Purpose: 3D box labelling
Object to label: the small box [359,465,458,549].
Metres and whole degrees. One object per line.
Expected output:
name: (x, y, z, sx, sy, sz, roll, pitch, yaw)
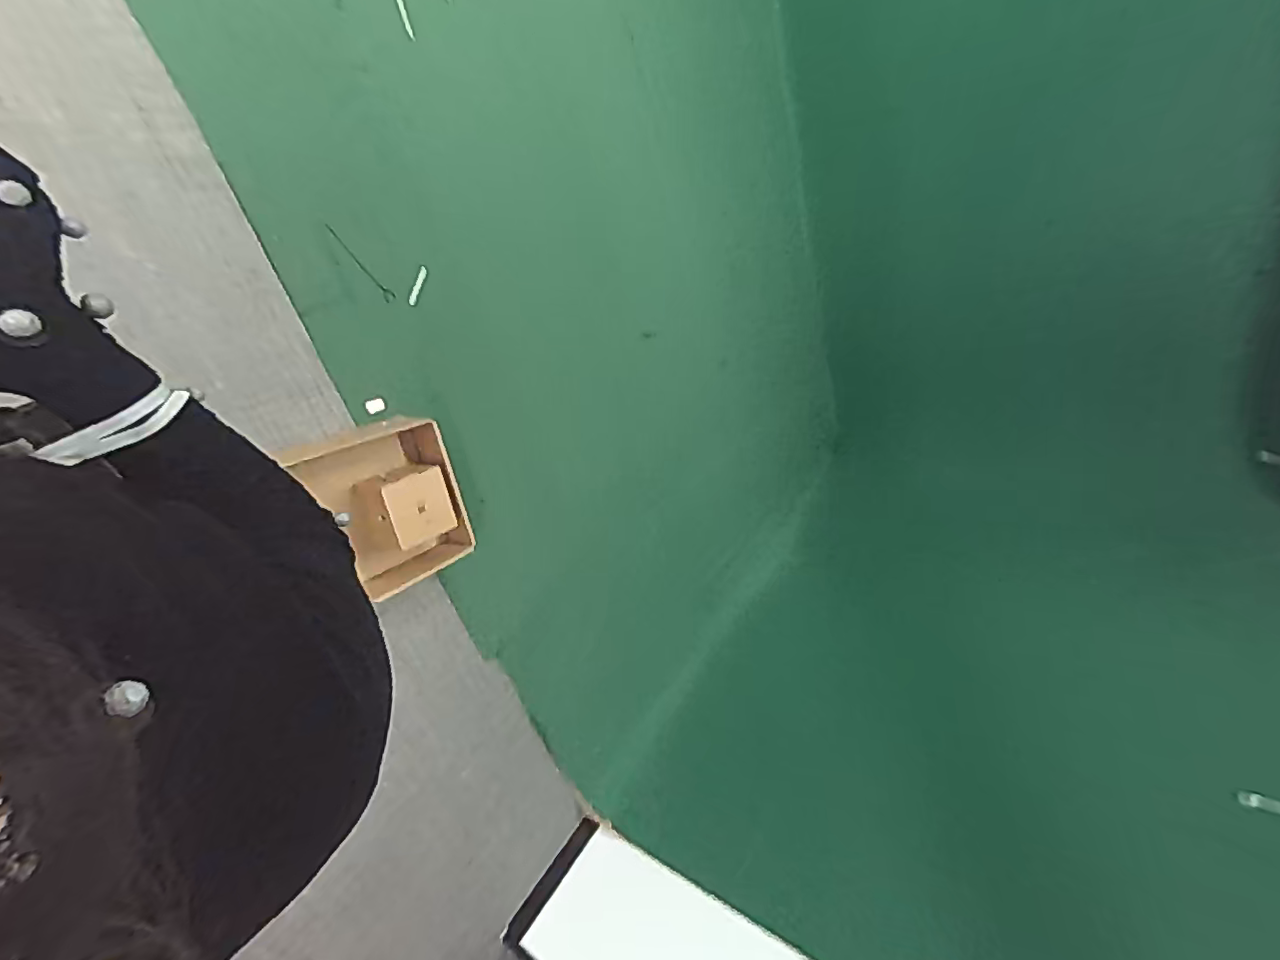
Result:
small box: (-0.625, 0.065, 1.453, 0.168, 0.176, 0.179, -28, 114, -43)
